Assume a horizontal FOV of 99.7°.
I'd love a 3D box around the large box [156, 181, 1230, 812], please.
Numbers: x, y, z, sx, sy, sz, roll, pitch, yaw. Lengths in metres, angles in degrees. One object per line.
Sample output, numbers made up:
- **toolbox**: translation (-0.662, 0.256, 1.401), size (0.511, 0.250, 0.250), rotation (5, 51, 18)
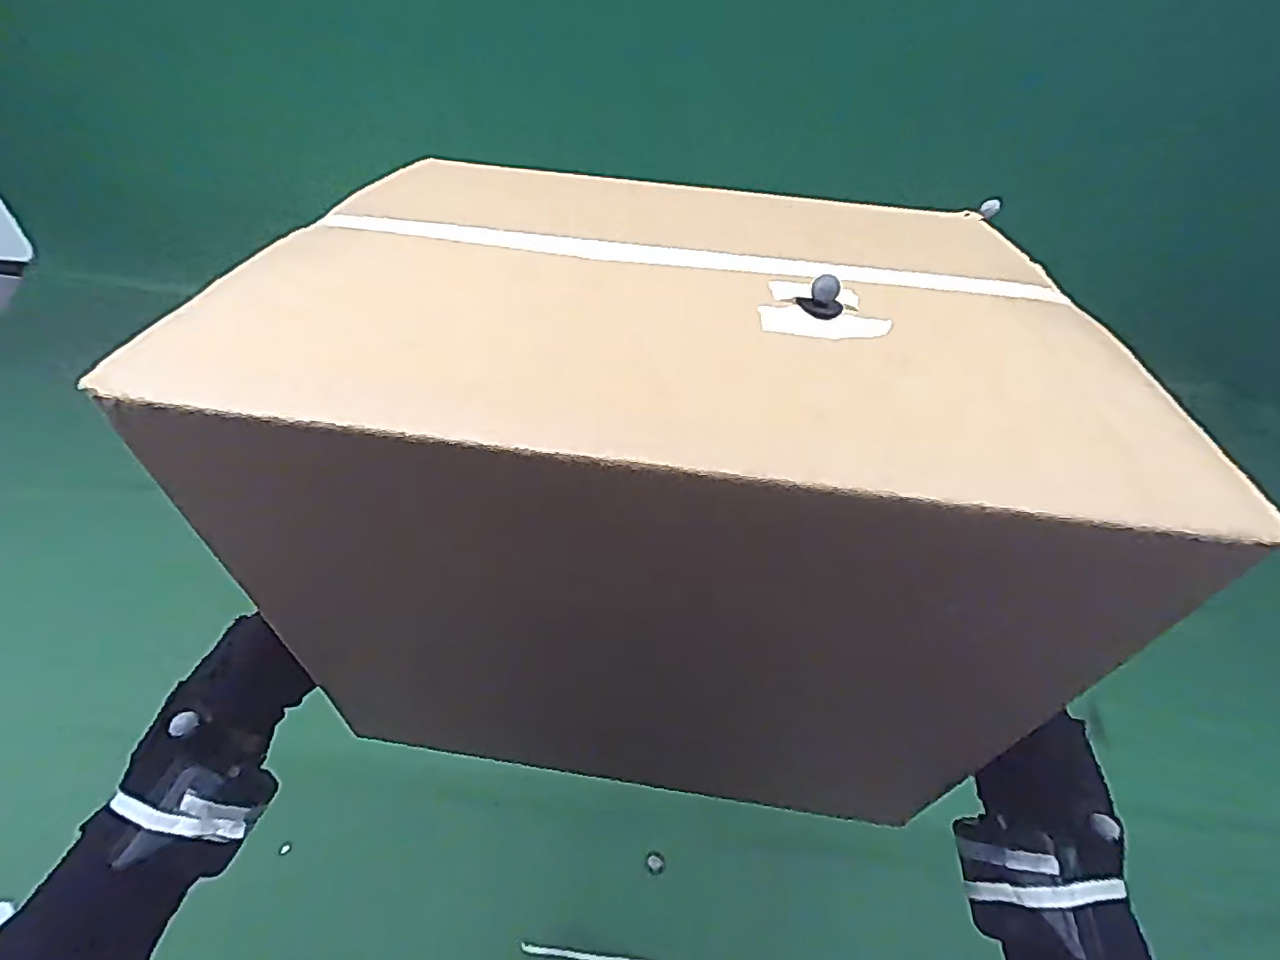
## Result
- **large box**: translation (0.018, 0.004, 0.404), size (0.408, 0.320, 0.320), rotation (9, 44, 3)
